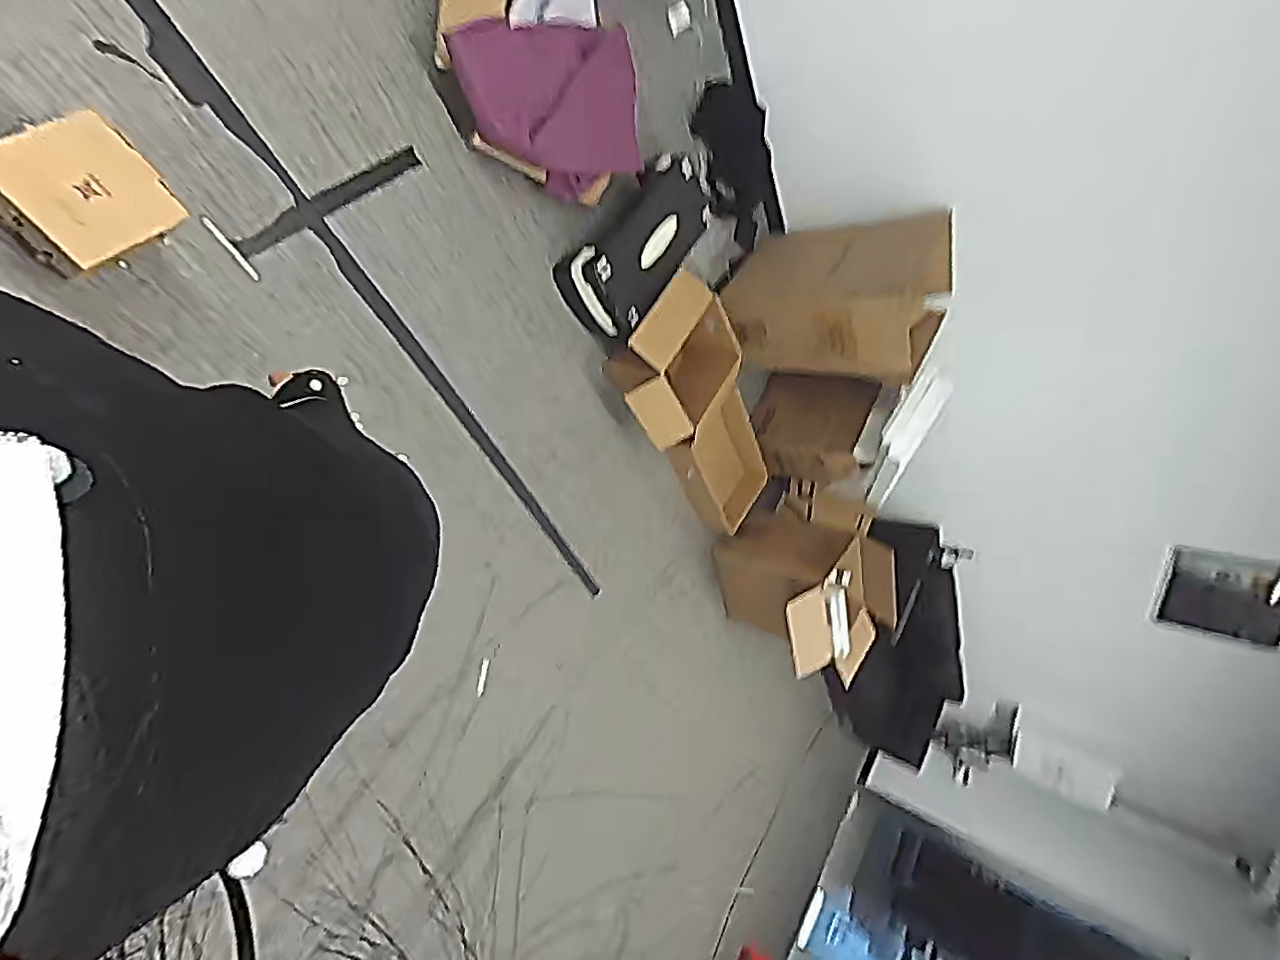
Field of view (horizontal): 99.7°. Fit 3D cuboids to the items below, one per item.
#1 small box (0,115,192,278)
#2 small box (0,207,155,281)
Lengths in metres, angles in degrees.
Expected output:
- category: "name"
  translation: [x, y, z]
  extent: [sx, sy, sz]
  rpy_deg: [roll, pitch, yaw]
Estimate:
- category: "small box"
  translation: [-0.880, -0.443, 0.863]
  extent: [0.179, 0.176, 0.168]
  rpy_deg: [-50, 131, -26]
- category: "small box"
  translation: [-1.005, -0.472, 0.963]
  extent: [0.168, 0.176, 0.179]
  rpy_deg: [-50, 132, -28]
